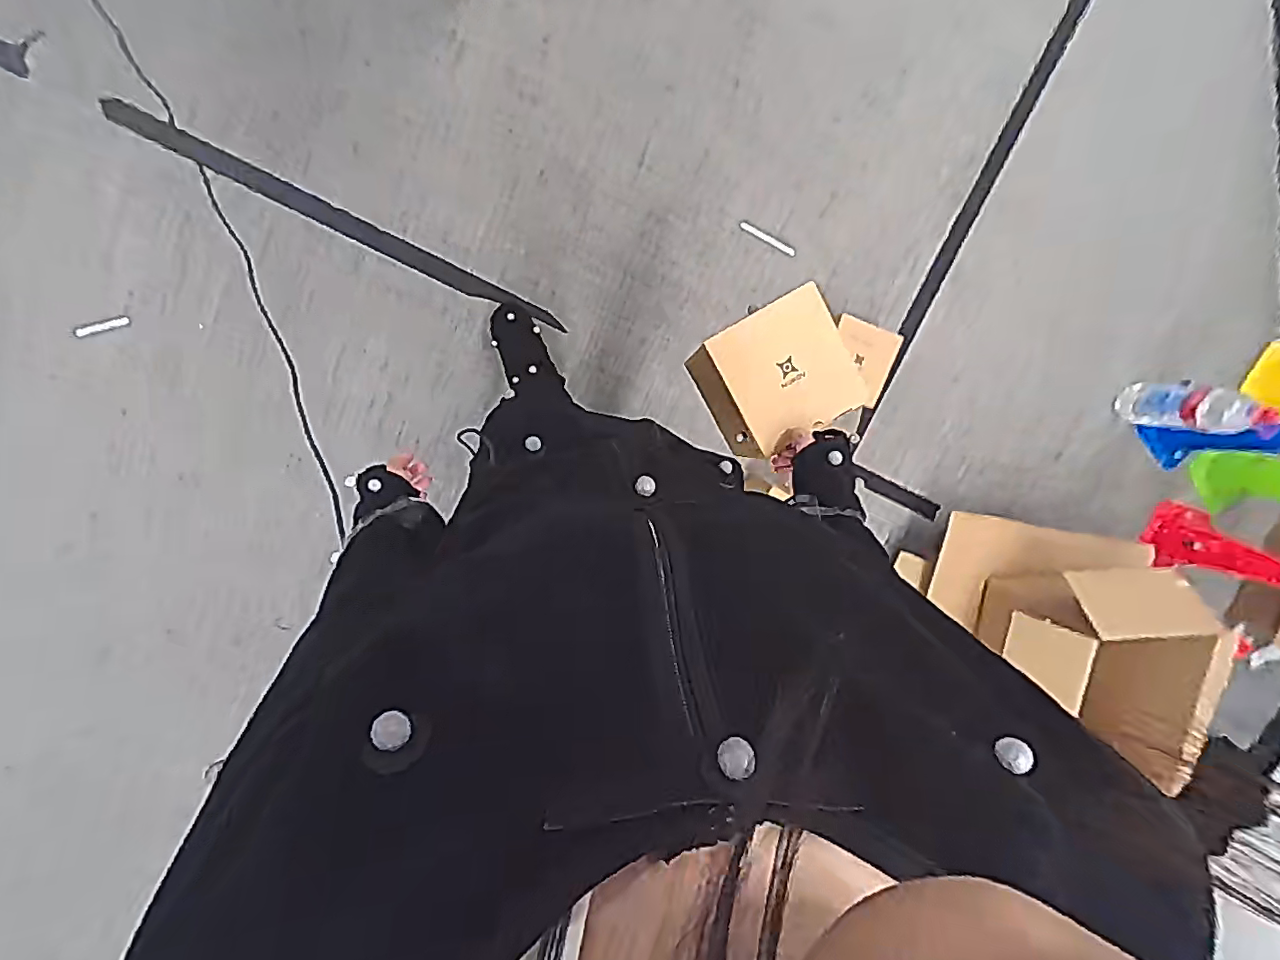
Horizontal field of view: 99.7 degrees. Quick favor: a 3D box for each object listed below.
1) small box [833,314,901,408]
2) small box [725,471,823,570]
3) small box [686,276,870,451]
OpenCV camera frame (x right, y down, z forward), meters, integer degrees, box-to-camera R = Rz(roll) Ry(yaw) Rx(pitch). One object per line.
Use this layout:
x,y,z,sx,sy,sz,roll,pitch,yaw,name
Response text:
0.497,-0.294,1.338,0.168,0.176,0.179,17,100,-11,small box
0.340,0.101,1.419,0.168,0.176,0.179,28,100,-13,small box
0.183,-0.154,0.774,0.168,0.176,0.179,-31,97,-2,small box
